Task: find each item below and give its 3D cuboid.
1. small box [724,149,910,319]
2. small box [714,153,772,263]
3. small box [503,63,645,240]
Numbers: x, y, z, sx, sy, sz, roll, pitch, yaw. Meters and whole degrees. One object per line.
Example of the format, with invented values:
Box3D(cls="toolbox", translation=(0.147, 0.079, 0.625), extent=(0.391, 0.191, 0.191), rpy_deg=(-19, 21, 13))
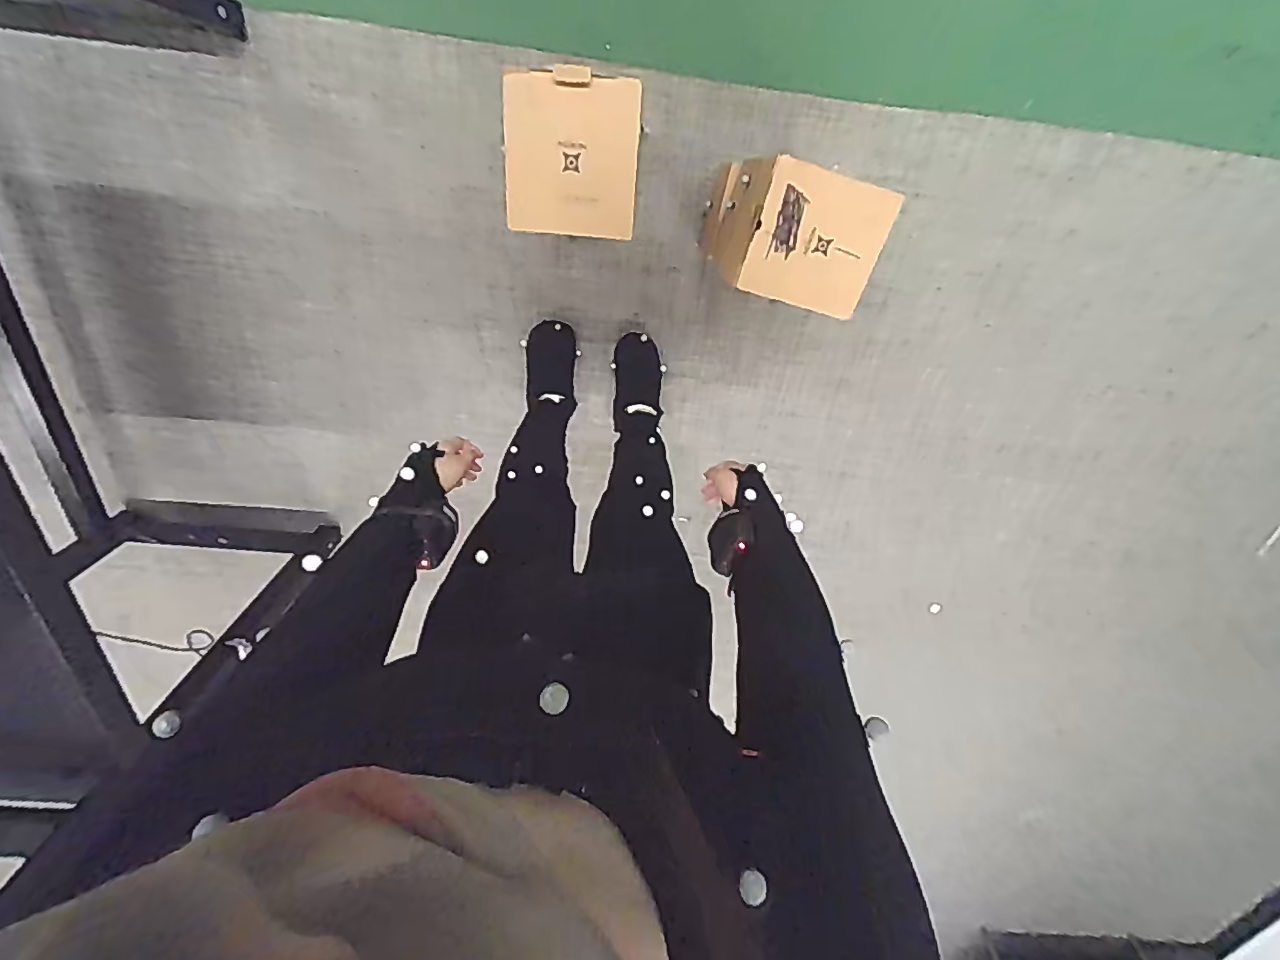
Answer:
Box3D(cls="small box", translation=(0.232, -0.348, 0.768), extent=(0.179, 0.176, 0.168), rpy_deg=(13, 119, -8))
Box3D(cls="small box", translation=(0.238, -0.428, 0.911), extent=(0.179, 0.176, 0.168), rpy_deg=(15, 119, -9))
Box3D(cls="small box", translation=(-0.082, -0.428, 0.724), extent=(0.168, 0.176, 0.179), rpy_deg=(4, 119, -1))
